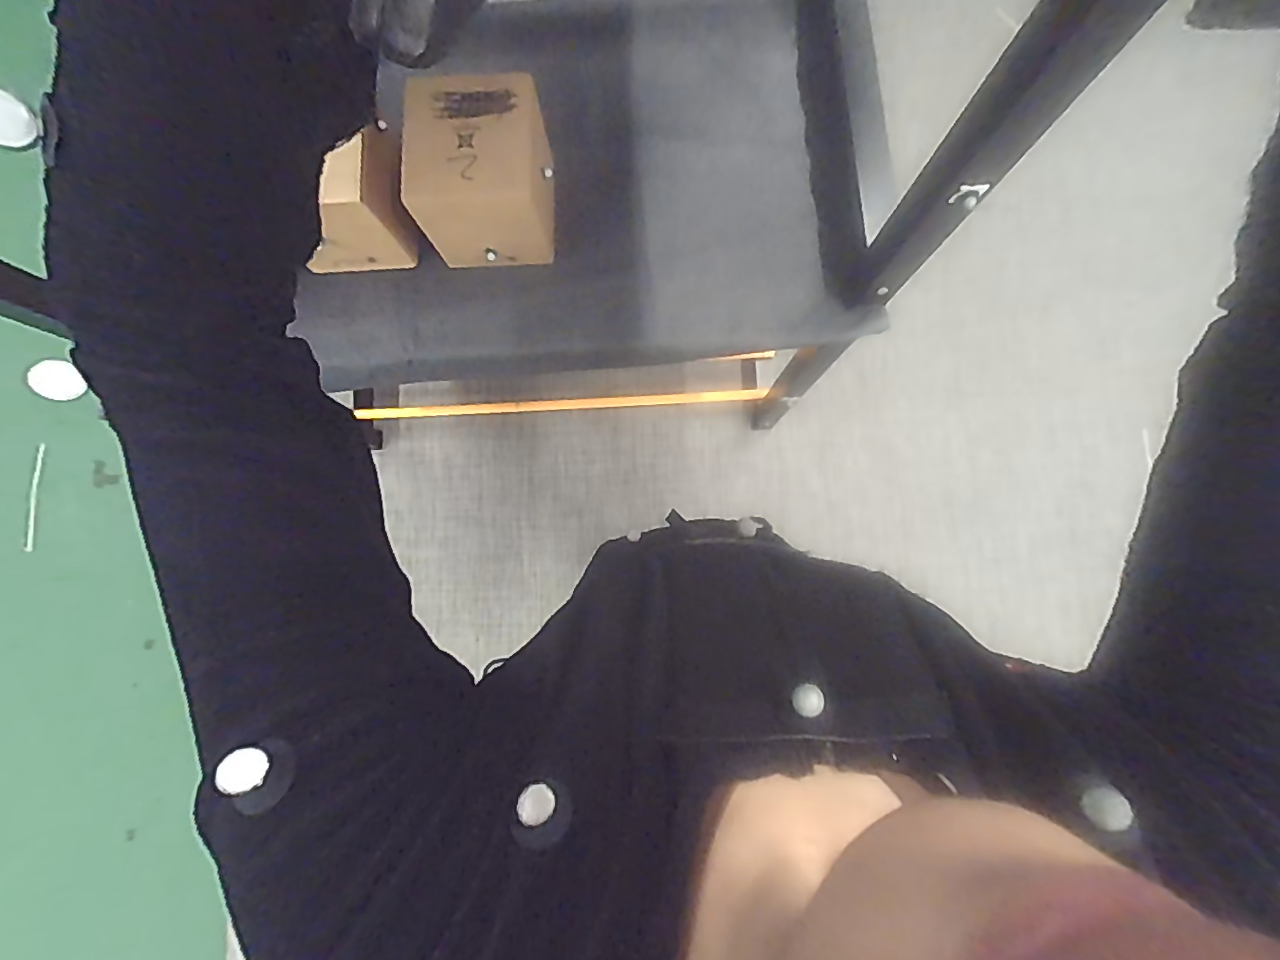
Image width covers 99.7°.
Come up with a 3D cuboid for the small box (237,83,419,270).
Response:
[{"bbox_3d":[-0.433,-0.419,0.776,0.168,0.176,0.179,-3,81,1],"label":"small box"}]
